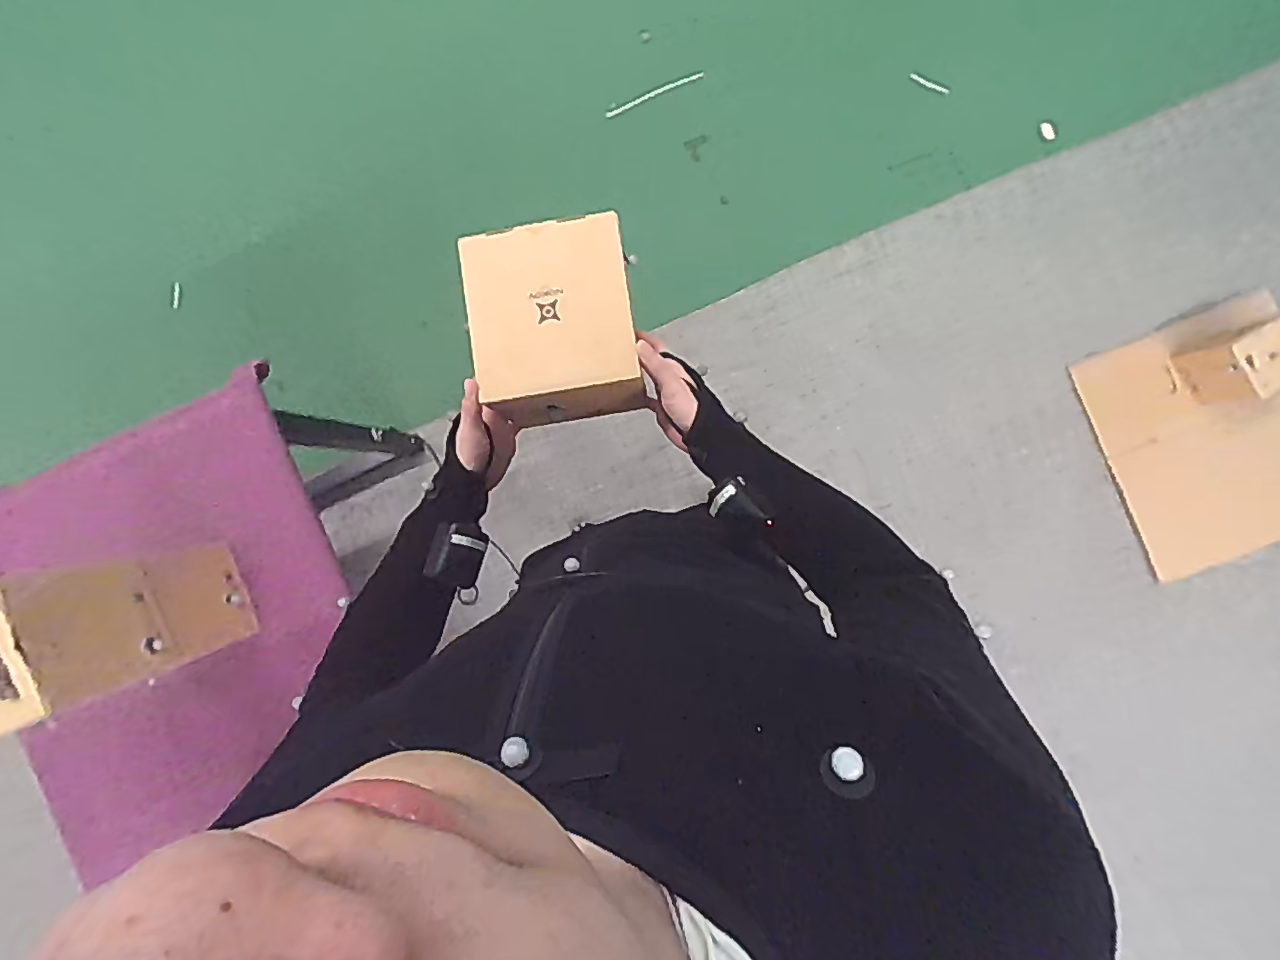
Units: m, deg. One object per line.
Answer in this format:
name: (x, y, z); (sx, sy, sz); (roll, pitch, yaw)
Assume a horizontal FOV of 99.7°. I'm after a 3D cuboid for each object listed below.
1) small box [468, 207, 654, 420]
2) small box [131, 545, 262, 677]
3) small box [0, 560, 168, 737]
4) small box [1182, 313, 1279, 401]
small box: (-0.077, -0.170, 0.613); (0.168, 0.176, 0.179); (-8, 85, 3)
small box: (-0.759, 0.215, 0.856); (0.179, 0.176, 0.168); (-22, 90, 3)
small box: (-0.764, 0.217, 0.693); (0.179, 0.176, 0.168); (-23, 90, 5)
small box: (1.653, -0.332, 1.461); (0.179, 0.176, 0.168); (-30, 89, 2)
